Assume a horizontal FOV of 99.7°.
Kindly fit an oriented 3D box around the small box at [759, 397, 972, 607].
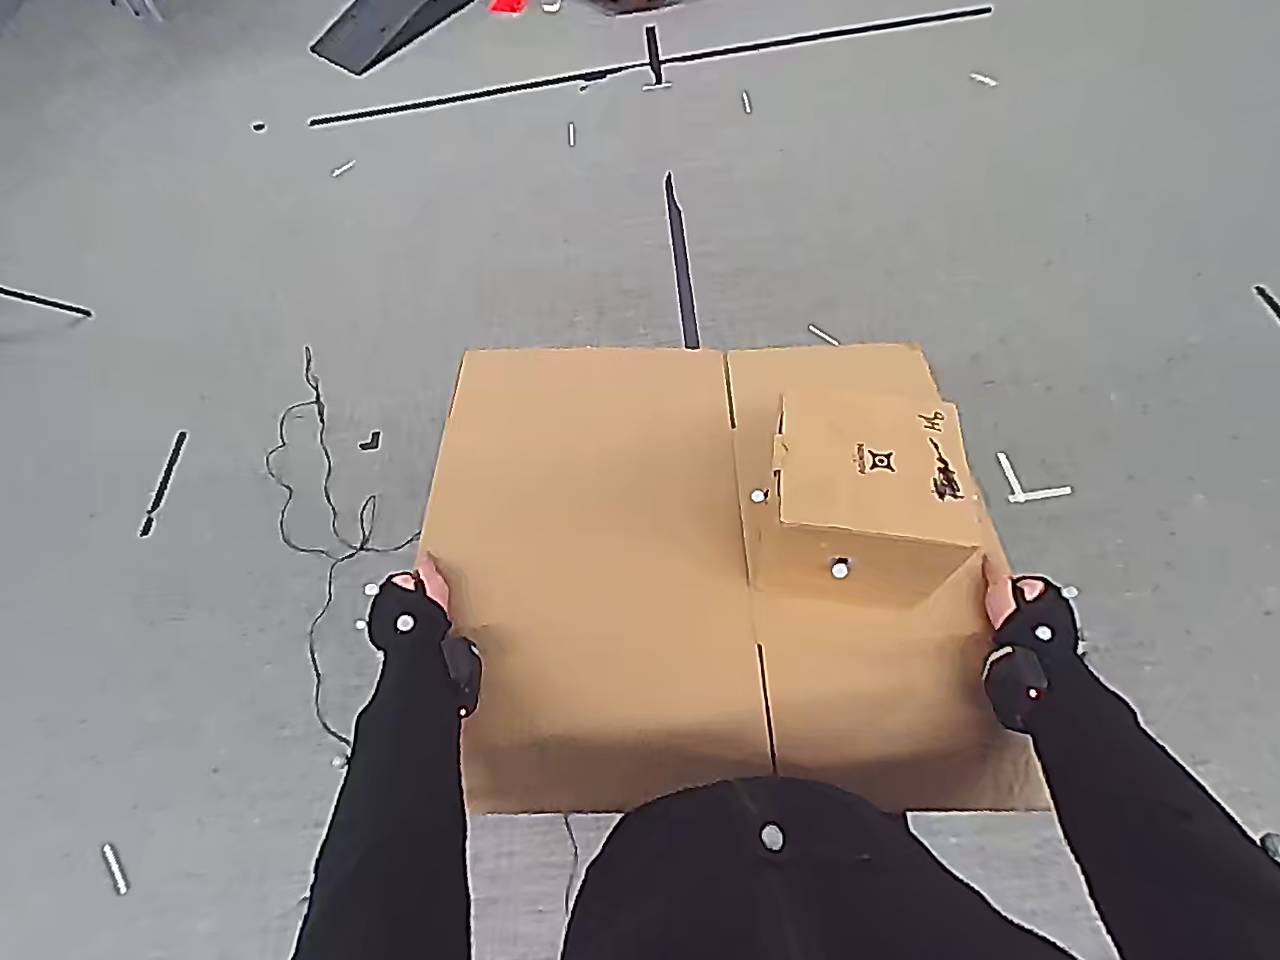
[{"bbox_3d":[0.229,0.029,0.598,0.179,0.176,0.168,6,58,9],"label":"small box"}]
